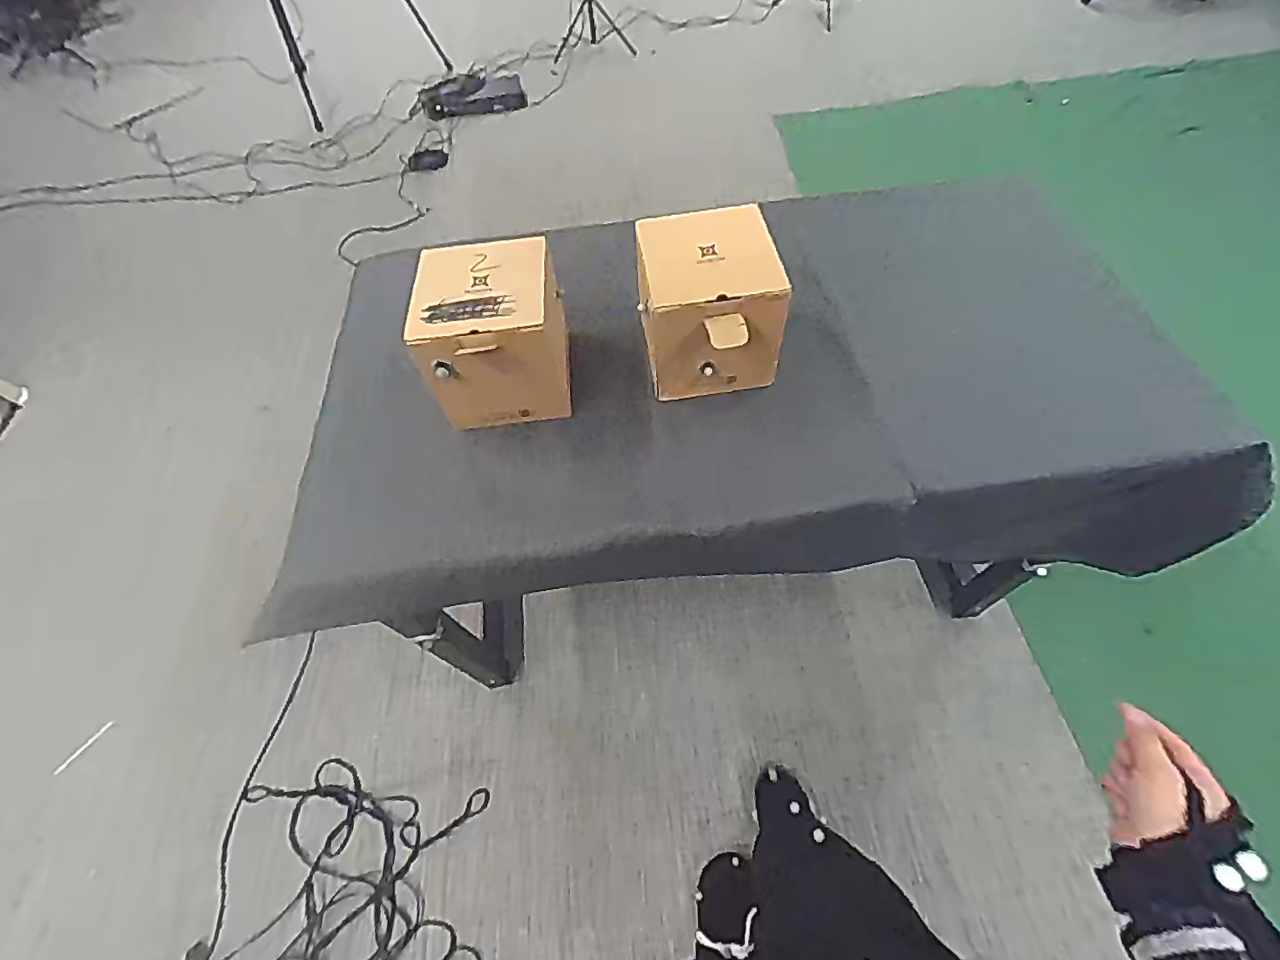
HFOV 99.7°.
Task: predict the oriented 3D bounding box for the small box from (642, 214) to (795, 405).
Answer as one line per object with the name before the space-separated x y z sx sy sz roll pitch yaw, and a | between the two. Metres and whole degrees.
small box | 0.095 -0.228 0.739 0.168 0.176 0.179 -8 58 -1
